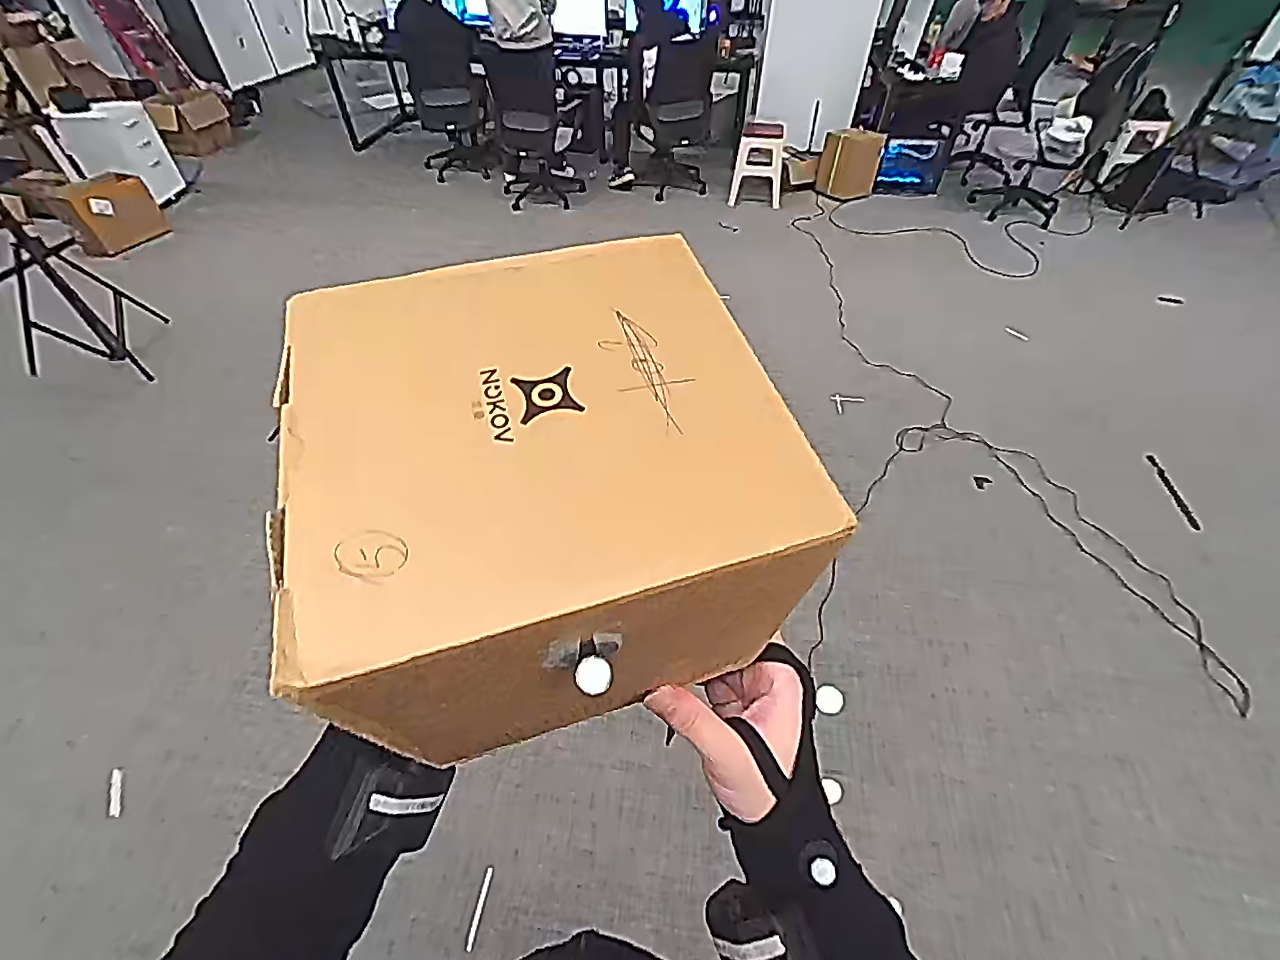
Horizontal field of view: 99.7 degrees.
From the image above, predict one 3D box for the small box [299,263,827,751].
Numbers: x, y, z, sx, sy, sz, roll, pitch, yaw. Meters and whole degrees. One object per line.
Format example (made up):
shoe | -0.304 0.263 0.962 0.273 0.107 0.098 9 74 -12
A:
small box | -0.042 0.020 0.279 0.179 0.176 0.168 -14 58 -12
